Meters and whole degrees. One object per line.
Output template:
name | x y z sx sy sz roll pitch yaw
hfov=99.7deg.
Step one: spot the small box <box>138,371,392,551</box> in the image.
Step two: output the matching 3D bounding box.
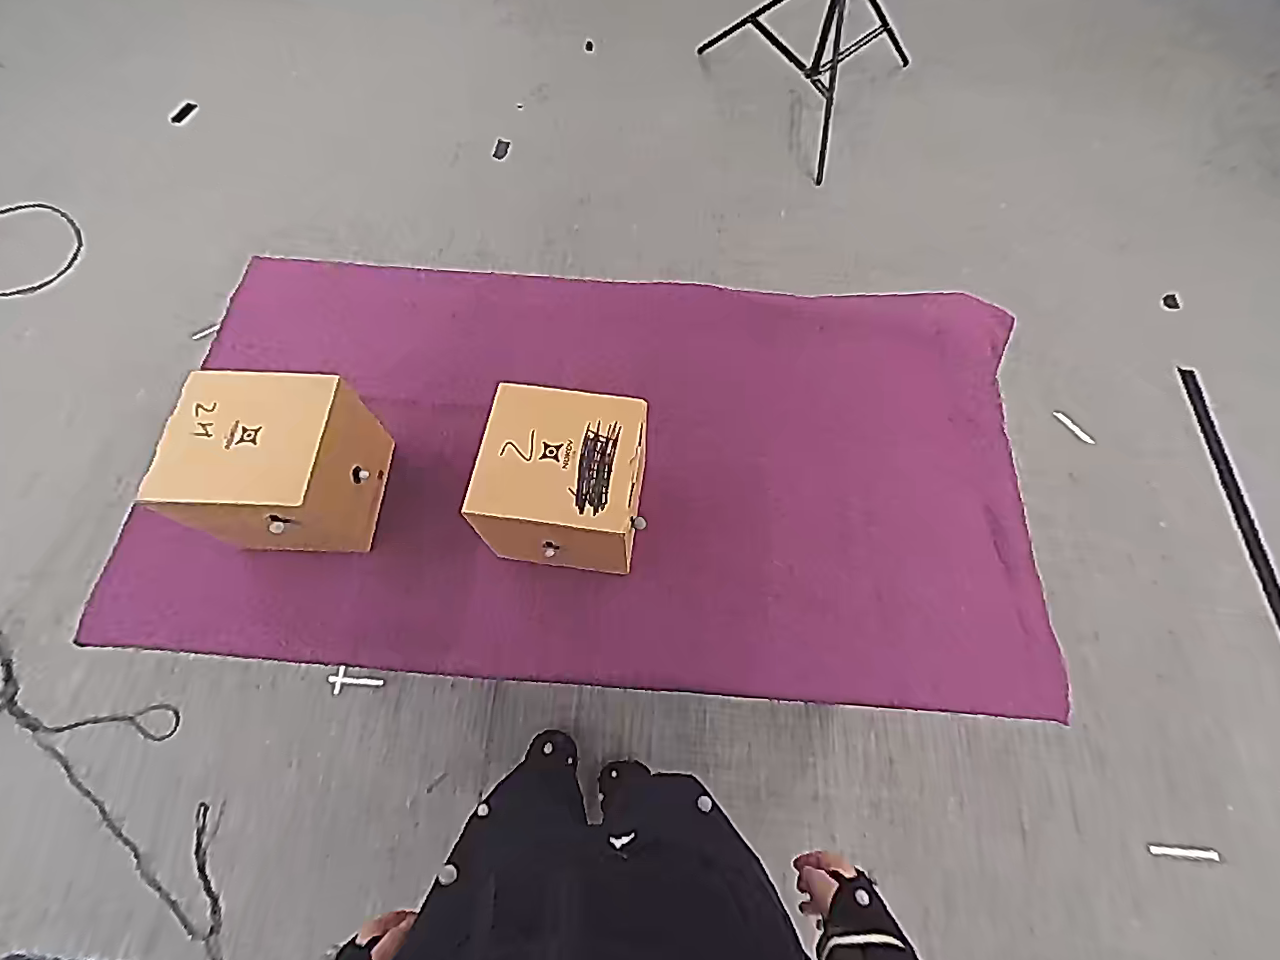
small box | -0.433 -0.015 0.665 0.179 0.176 0.168 2 65 0
